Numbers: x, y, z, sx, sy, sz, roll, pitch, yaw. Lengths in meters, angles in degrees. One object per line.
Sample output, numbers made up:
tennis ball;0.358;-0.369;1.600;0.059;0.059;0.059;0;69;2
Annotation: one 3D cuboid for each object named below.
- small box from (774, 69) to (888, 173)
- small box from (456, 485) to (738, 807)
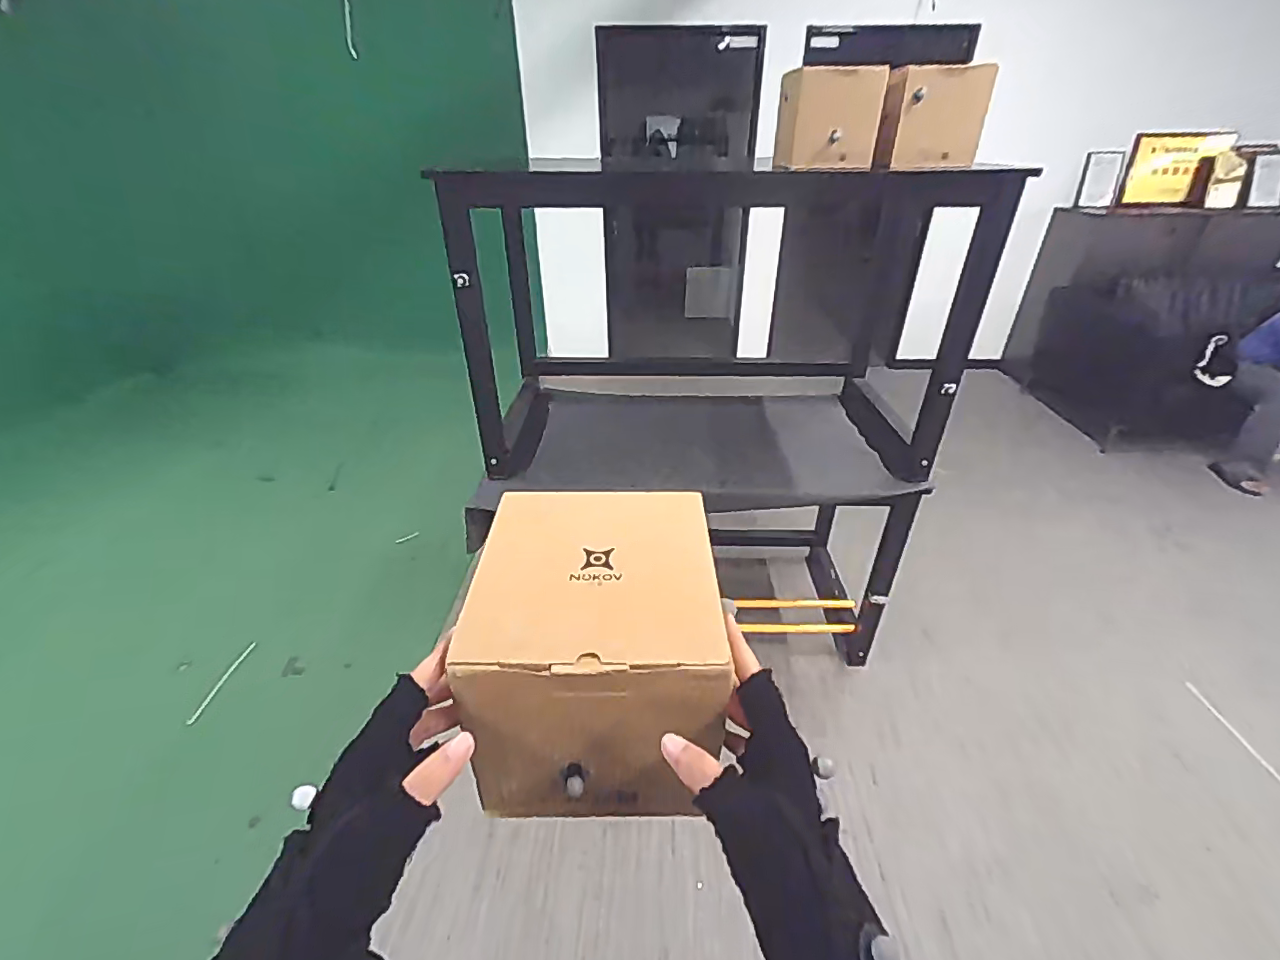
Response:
small box;0.385;-0.741;1.125;0.168;0.176;0.179;0;32;0
small box;-0.027;0.120;0.420;0.168;0.176;0.179;0;33;-1
